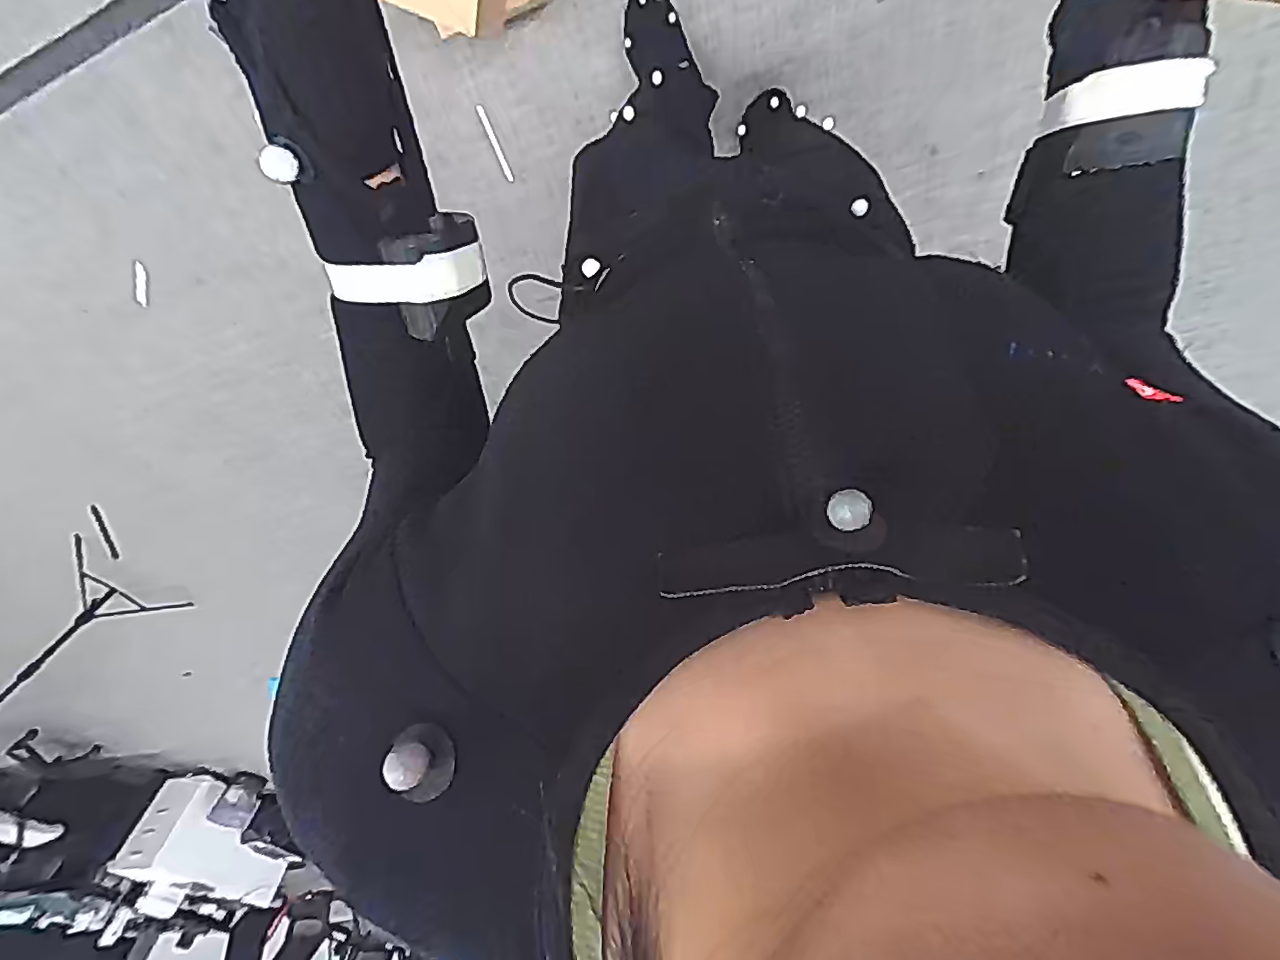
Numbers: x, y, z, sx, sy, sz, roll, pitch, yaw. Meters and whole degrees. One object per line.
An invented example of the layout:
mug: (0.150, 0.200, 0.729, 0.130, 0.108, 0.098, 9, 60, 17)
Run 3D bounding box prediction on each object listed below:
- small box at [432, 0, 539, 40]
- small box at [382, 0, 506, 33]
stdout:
small box: (-0.287, -0.901, 0.941, 0.179, 0.176, 0.168, -10, 129, 14)
small box: (-0.301, -0.799, 0.808, 0.179, 0.176, 0.168, 16, 130, -9)
